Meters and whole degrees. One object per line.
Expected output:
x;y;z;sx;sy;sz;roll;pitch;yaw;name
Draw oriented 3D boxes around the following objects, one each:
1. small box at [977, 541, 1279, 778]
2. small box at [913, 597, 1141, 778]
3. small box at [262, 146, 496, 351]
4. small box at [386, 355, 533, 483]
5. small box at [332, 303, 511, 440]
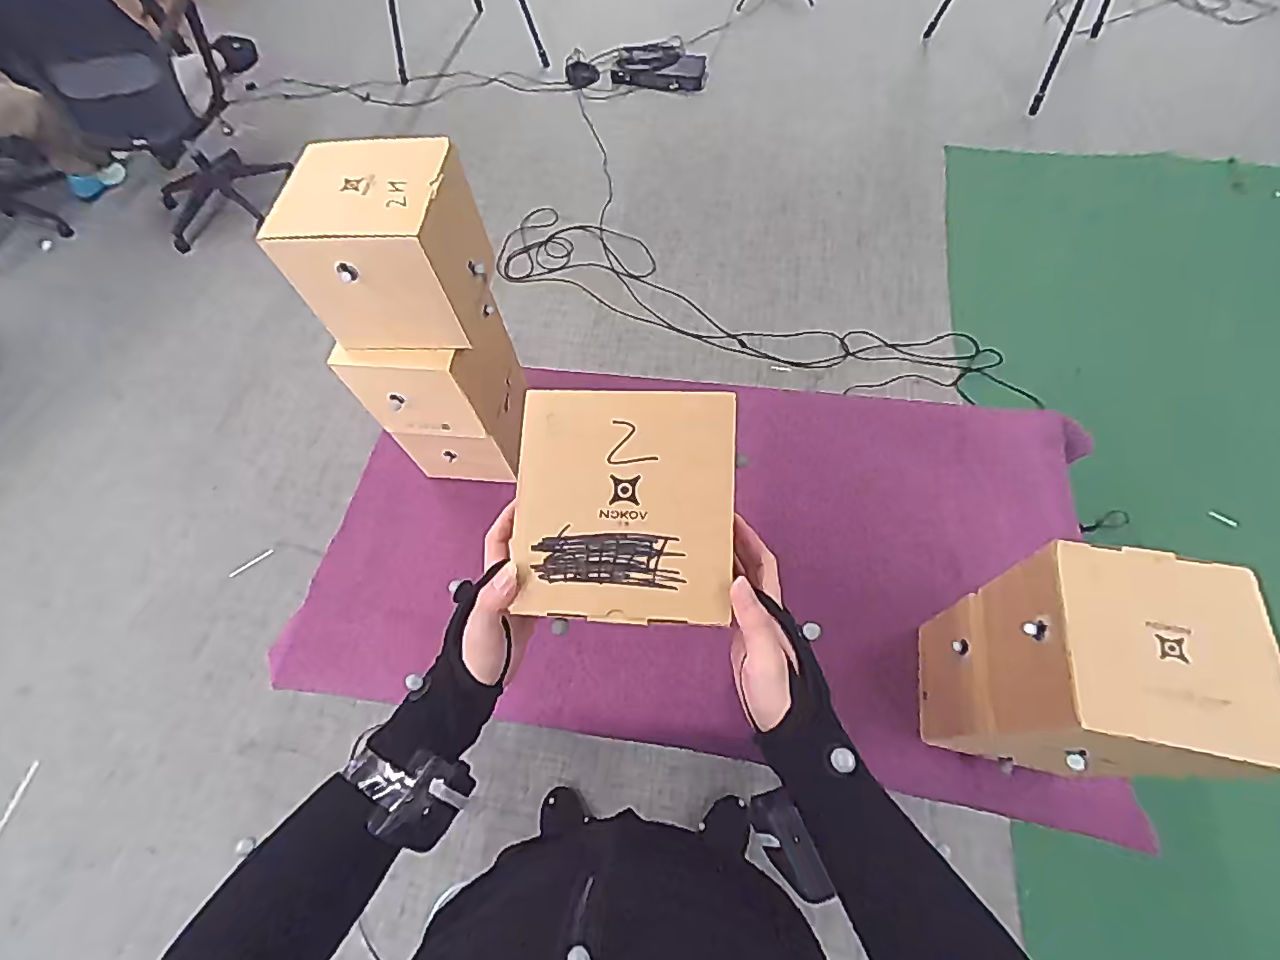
0.466;0.186;0.548;0.168;0.176;0.179;9;63;11;small box
0.473;0.267;0.690;0.179;0.176;0.168;10;62;9;small box
-0.296;-0.273;0.658;0.179;0.176;0.168;1;62;4;small box
-0.297;-0.104;0.938;0.179;0.176;0.168;3;62;6;small box
-0.302;-0.175;0.792;0.168;0.176;0.179;4;62;6;small box
